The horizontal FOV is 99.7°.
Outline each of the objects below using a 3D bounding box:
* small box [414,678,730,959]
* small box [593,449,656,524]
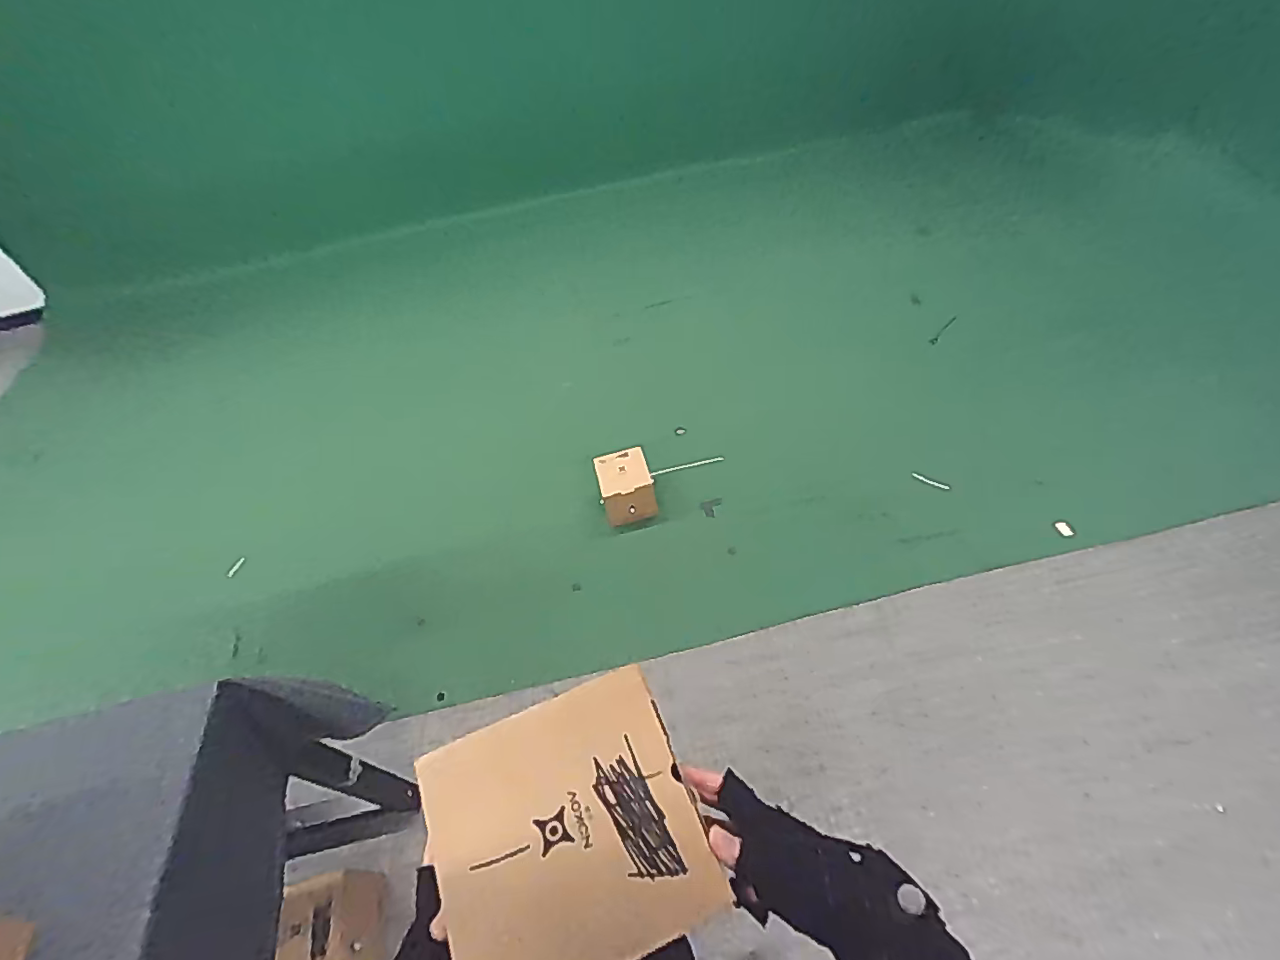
[{"bbox_3d":[-0.052,0.282,0.430,0.179,0.176,0.168,-19,60,-12],"label":"small box"},{"bbox_3d":[-0.048,0.029,1.797,0.168,0.176,0.179,-14,51,-2],"label":"small box"}]
